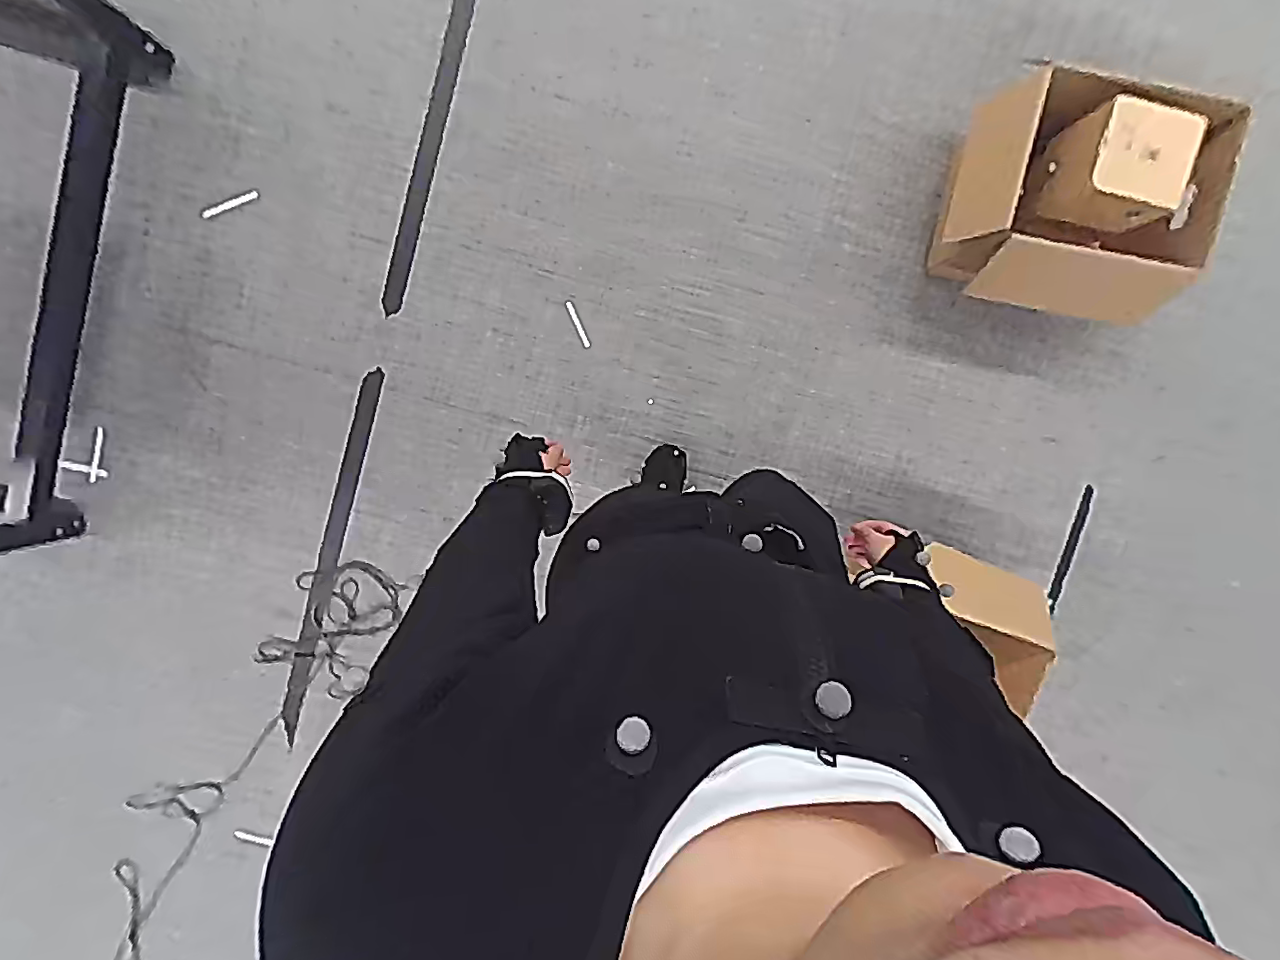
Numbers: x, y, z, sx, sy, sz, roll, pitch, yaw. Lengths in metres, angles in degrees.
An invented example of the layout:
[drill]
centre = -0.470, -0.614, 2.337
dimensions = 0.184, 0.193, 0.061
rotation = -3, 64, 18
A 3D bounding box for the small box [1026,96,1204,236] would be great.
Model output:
[small box]
centre = 0.920, -0.603, 1.064
dimensions = 0.179, 0.176, 0.168
rotation = 14, 95, -2
